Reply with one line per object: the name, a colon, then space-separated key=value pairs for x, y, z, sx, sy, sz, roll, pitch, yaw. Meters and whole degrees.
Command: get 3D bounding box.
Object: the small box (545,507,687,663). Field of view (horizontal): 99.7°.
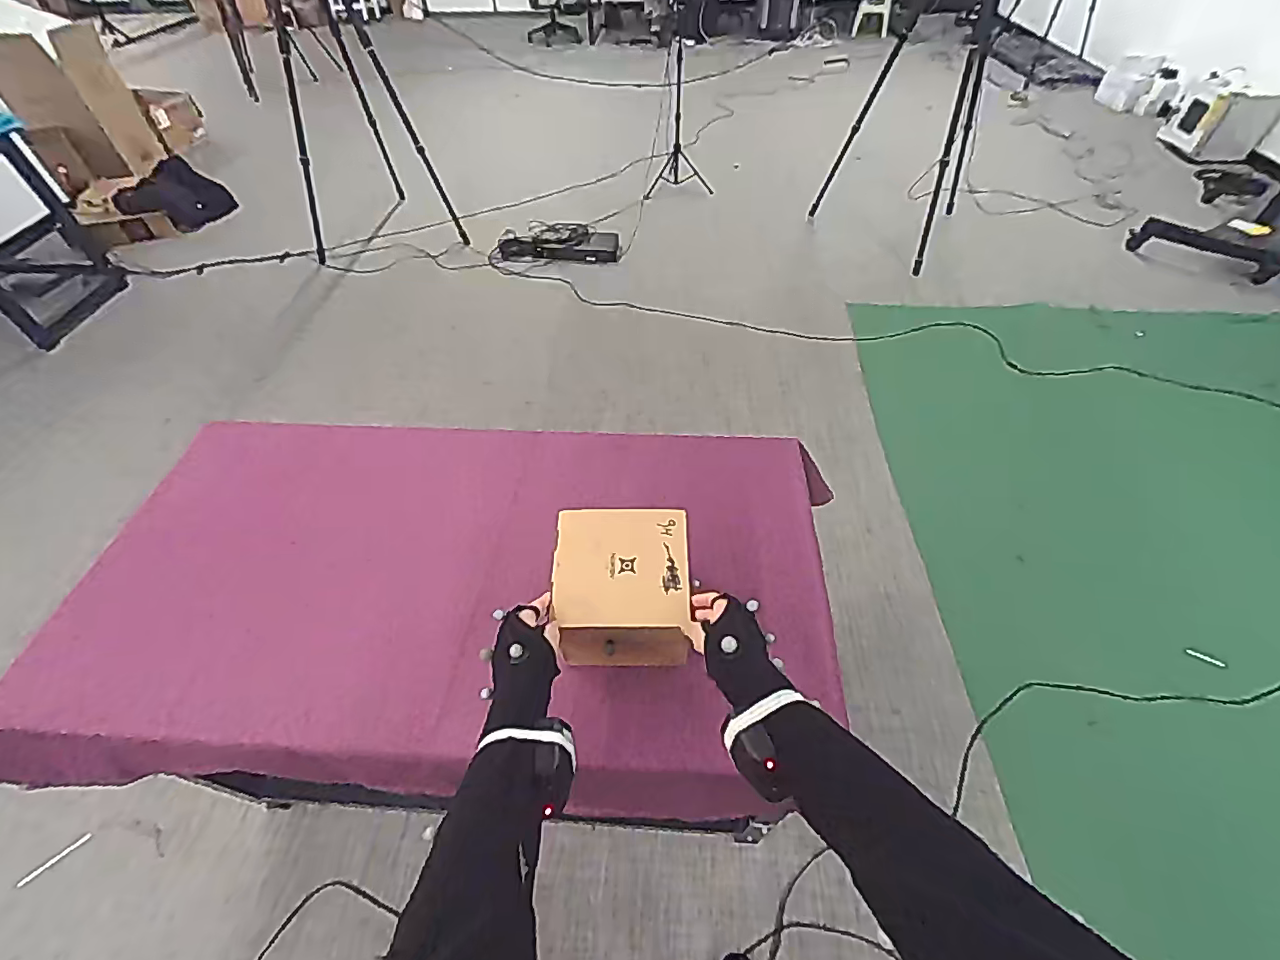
small box: x=-0.024 y=0.152 z=0.763 sx=0.179 sy=0.176 sz=0.168 roll=-1 pitch=55 yaw=2
